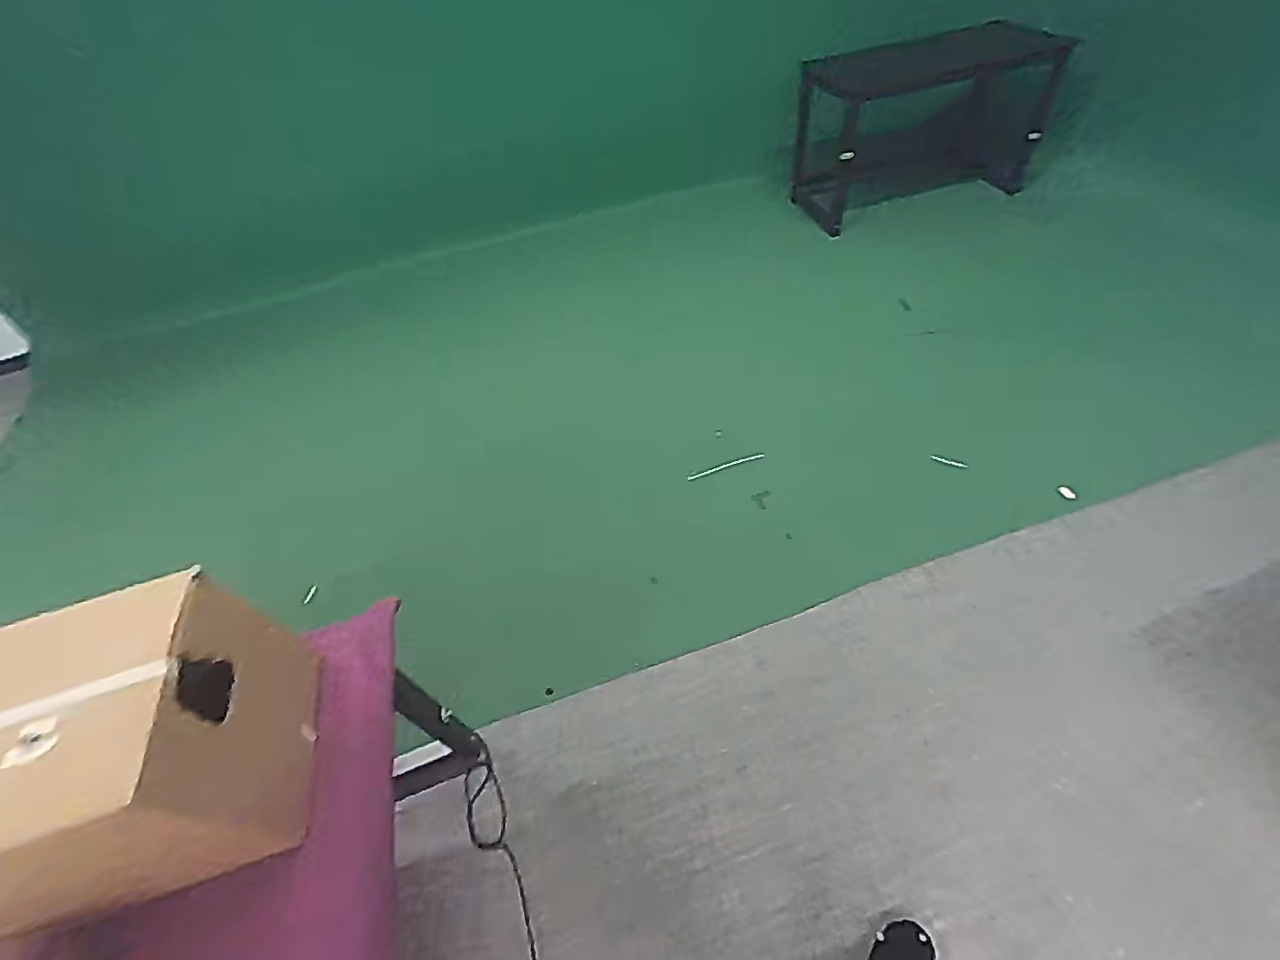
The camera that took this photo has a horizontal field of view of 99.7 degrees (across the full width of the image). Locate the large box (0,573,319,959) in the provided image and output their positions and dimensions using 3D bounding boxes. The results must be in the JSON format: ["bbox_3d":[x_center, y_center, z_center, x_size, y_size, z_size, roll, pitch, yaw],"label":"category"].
[{"bbox_3d":[-0.737,0.394,0.748,0.408,0.320,0.320,-18,51,-7],"label":"large box"}]
